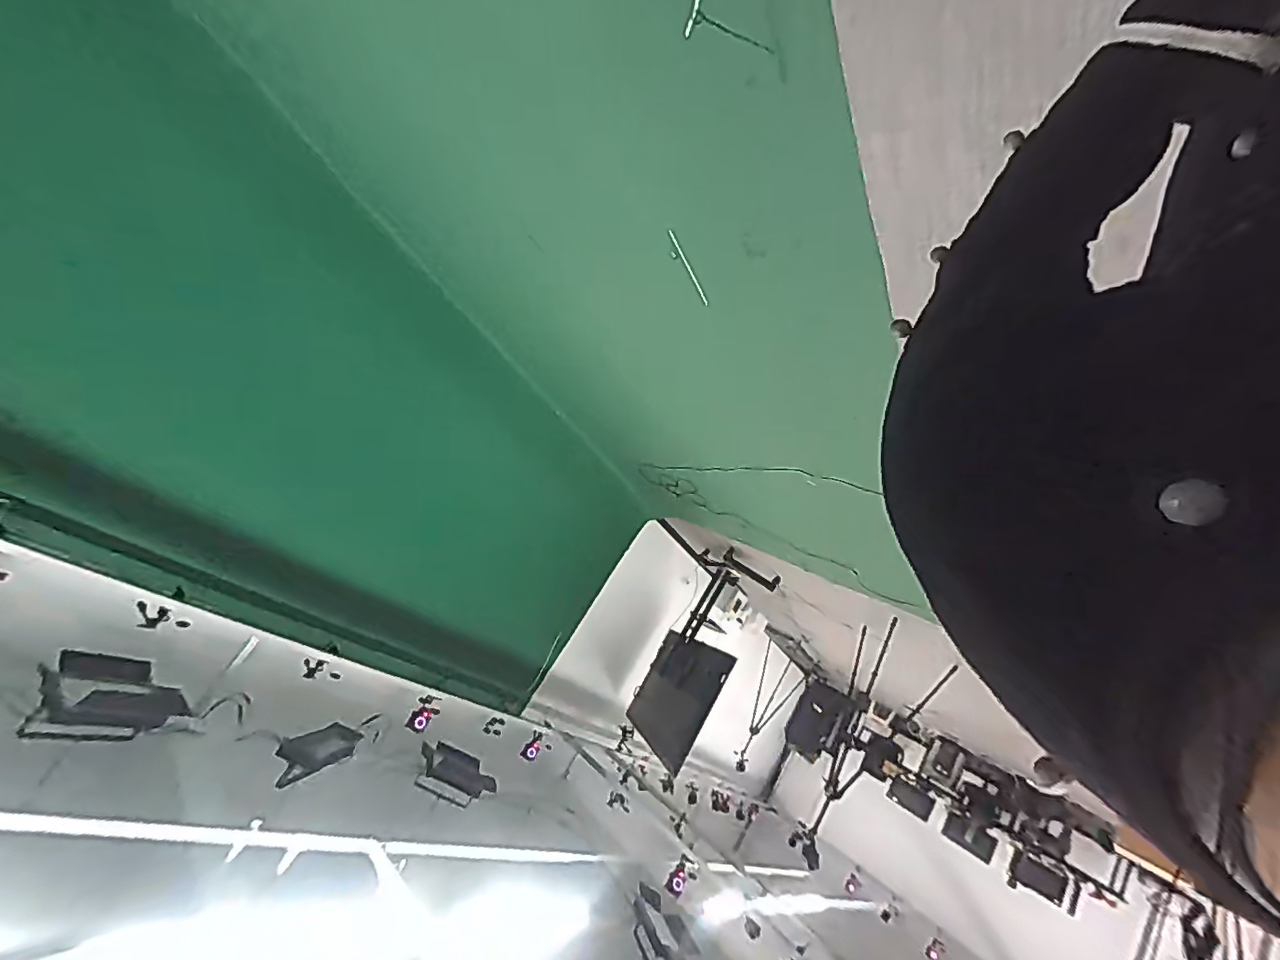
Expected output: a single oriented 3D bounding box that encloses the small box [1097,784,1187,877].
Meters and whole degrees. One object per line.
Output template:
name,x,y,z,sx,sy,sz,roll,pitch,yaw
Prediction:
small box,1.555,1.082,1.677,0.179,0.176,0.168,17,158,48
